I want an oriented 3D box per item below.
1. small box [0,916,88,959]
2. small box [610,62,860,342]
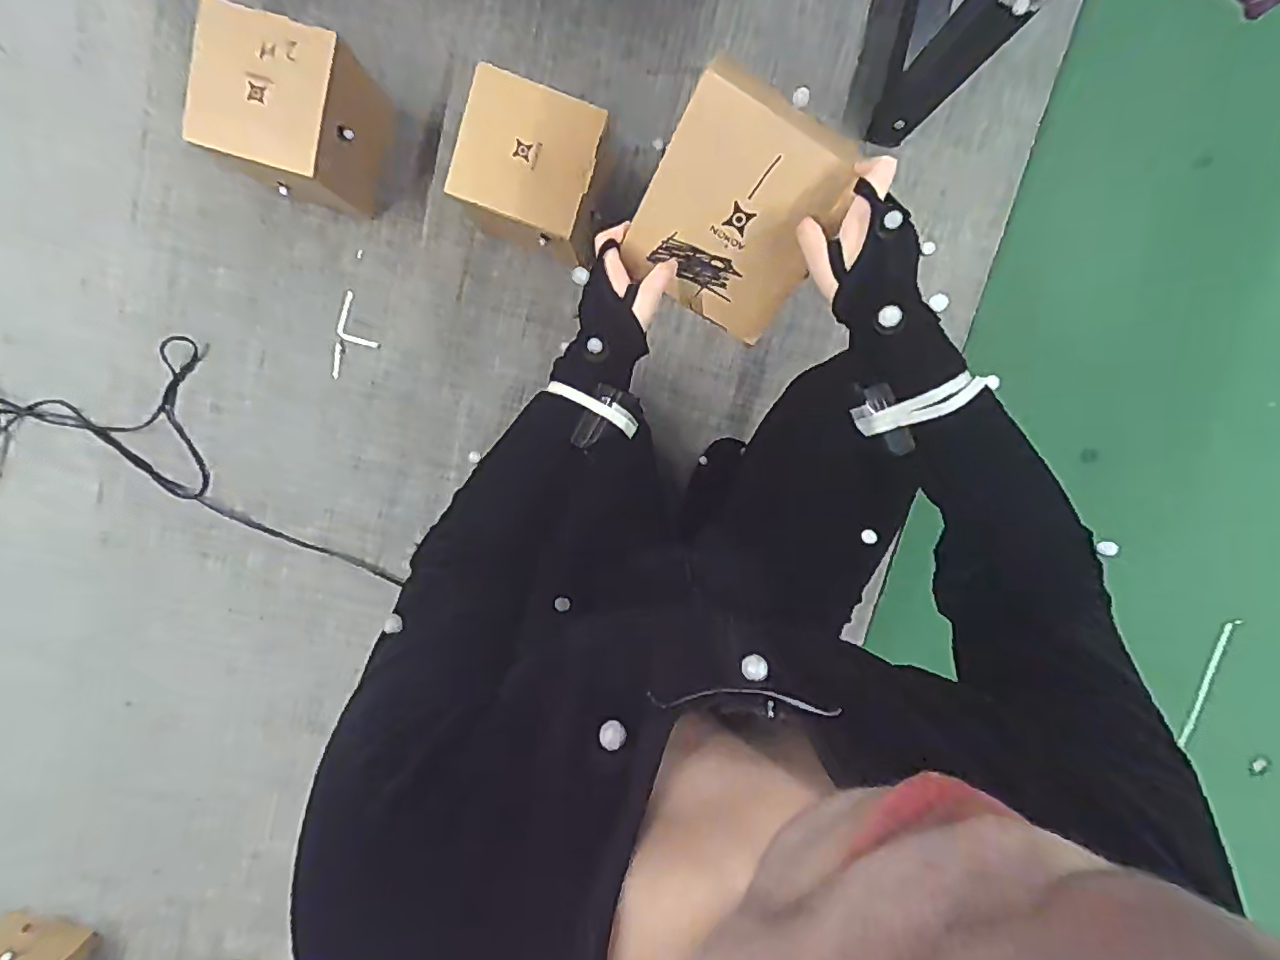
[{"bbox_3d":[-1.120,0.909,0.930,0.168,0.176,0.179,17,96,-3],"label":"small box"},{"bbox_3d":[0.092,-0.282,0.549,0.168,0.176,0.179,27,130,-11],"label":"small box"}]
